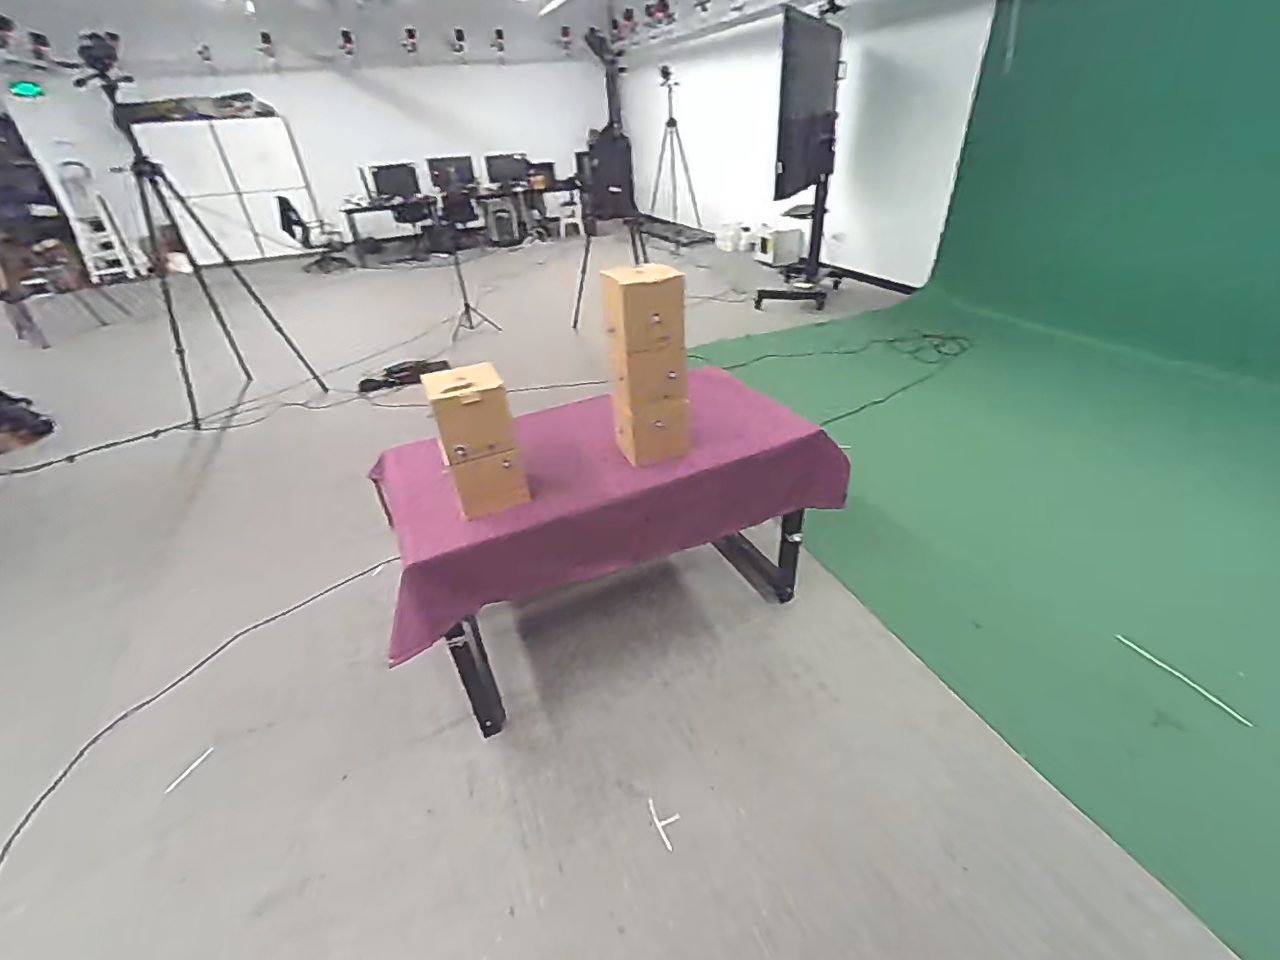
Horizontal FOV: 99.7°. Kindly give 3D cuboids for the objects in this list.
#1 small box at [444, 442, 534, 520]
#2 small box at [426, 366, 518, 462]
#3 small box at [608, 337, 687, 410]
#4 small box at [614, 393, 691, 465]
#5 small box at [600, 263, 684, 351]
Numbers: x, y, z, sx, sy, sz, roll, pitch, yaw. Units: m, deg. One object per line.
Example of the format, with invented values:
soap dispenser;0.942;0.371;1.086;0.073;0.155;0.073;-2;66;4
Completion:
small box;-0.390;-0.019;1.402;0.179;0.176;0.168;-17;35;-18
small box;-0.405;-0.157;1.314;0.168;0.176;0.179;-17;34;-19
small box;0.023;-0.302;1.471;0.168;0.176;0.179;-15;34;-14
small box;0.040;-0.162;1.553;0.179;0.176;0.168;-15;35;-14
small box;0.008;-0.438;1.379;0.168;0.176;0.179;-15;35;-16
